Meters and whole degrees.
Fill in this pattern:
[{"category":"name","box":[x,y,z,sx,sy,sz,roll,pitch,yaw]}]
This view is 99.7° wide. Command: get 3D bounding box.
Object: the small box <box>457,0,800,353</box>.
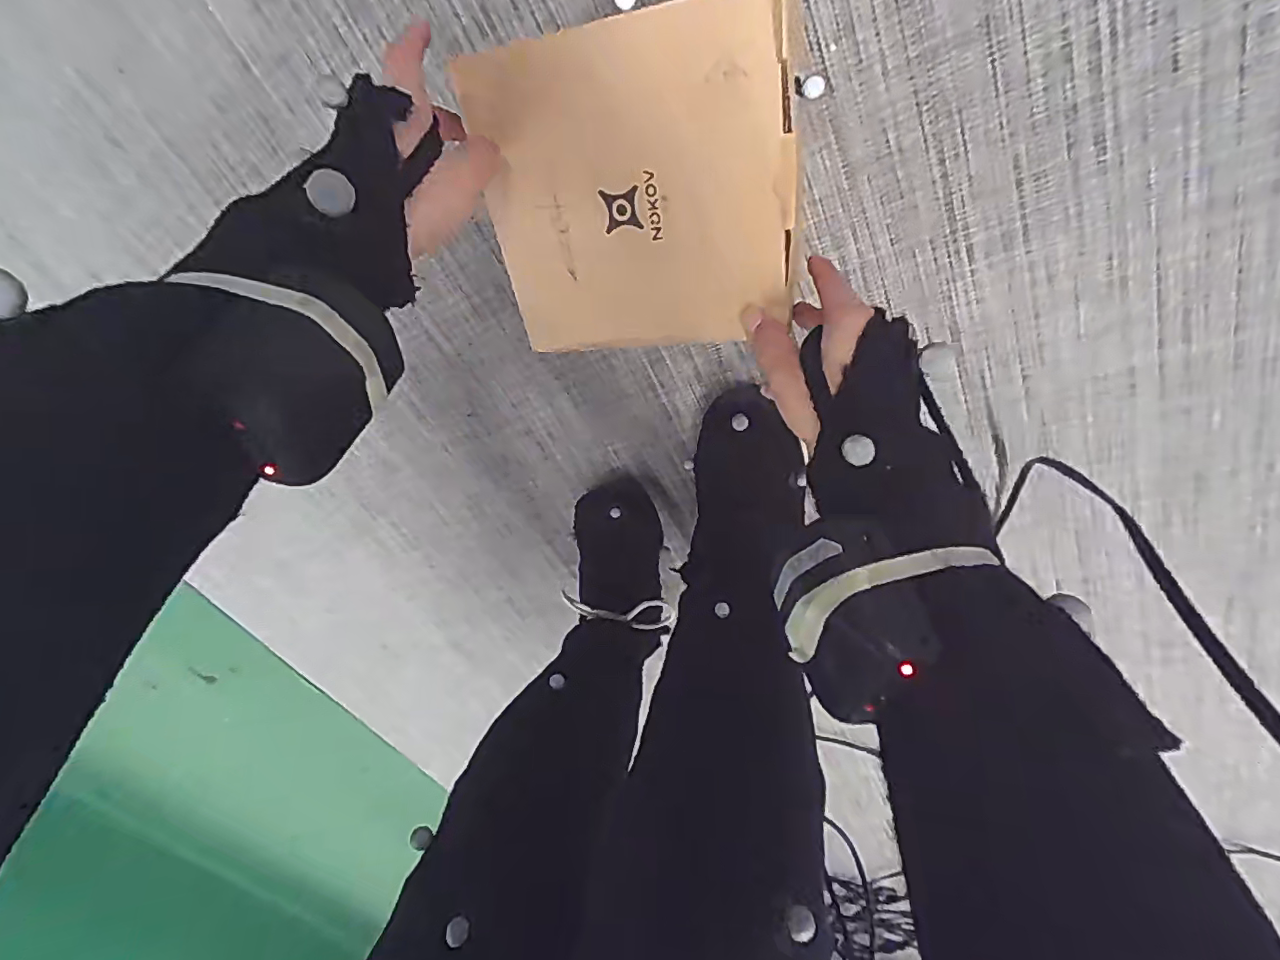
[{"category":"small box","box":[0.017,-0.201,0.369,0.179,0.176,0.168,1,127,19]}]
